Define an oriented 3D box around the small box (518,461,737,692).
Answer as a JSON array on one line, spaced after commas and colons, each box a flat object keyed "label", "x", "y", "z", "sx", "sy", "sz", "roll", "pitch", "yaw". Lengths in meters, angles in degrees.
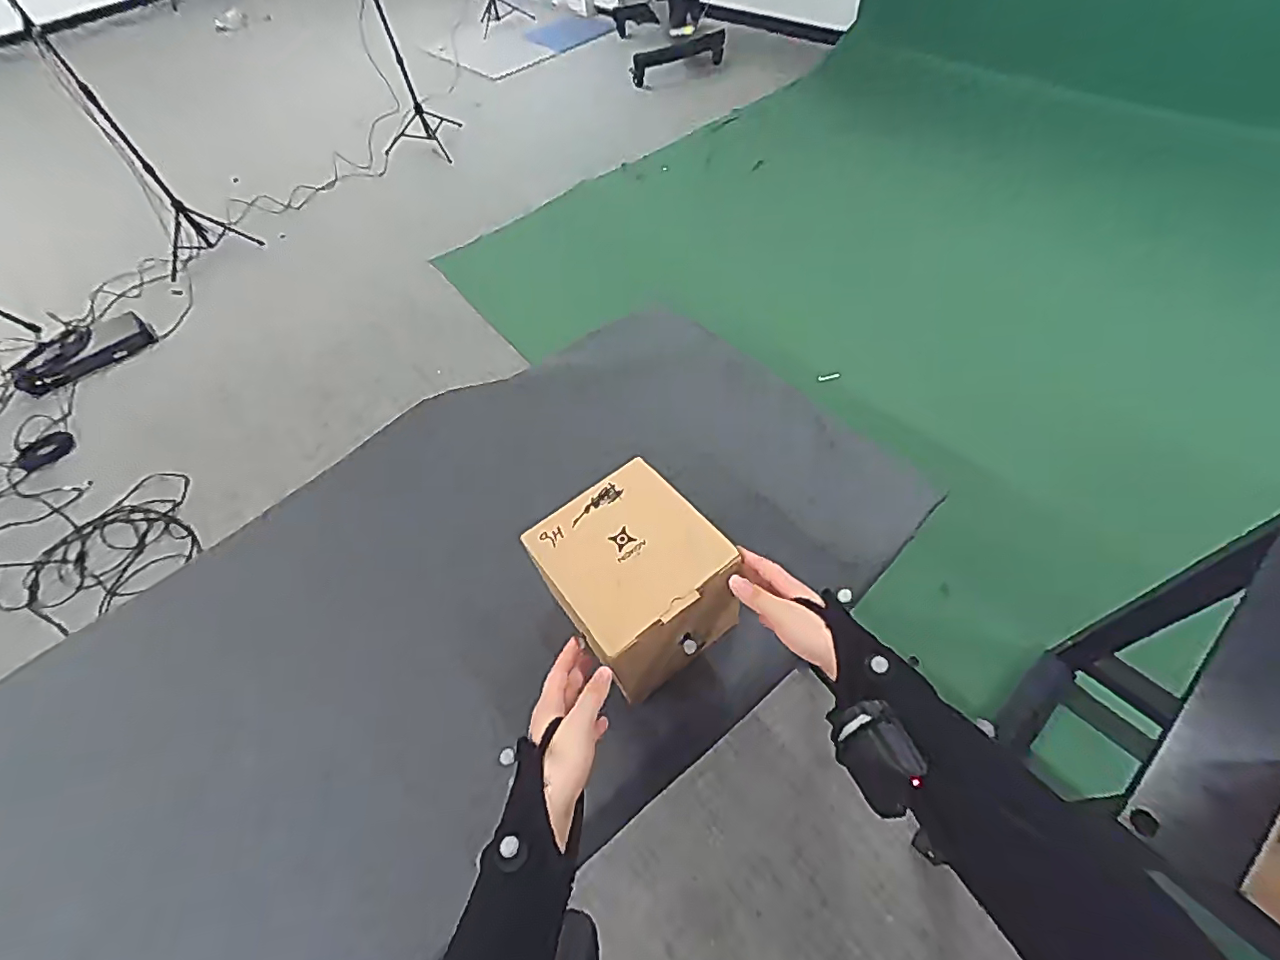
[{"label": "small box", "x": -0.007, "y": 0.118, "z": 0.619, "sx": 0.168, "sy": 0.176, "sz": 0.179, "roll": -35, "pitch": 57, "yaw": -16}]
